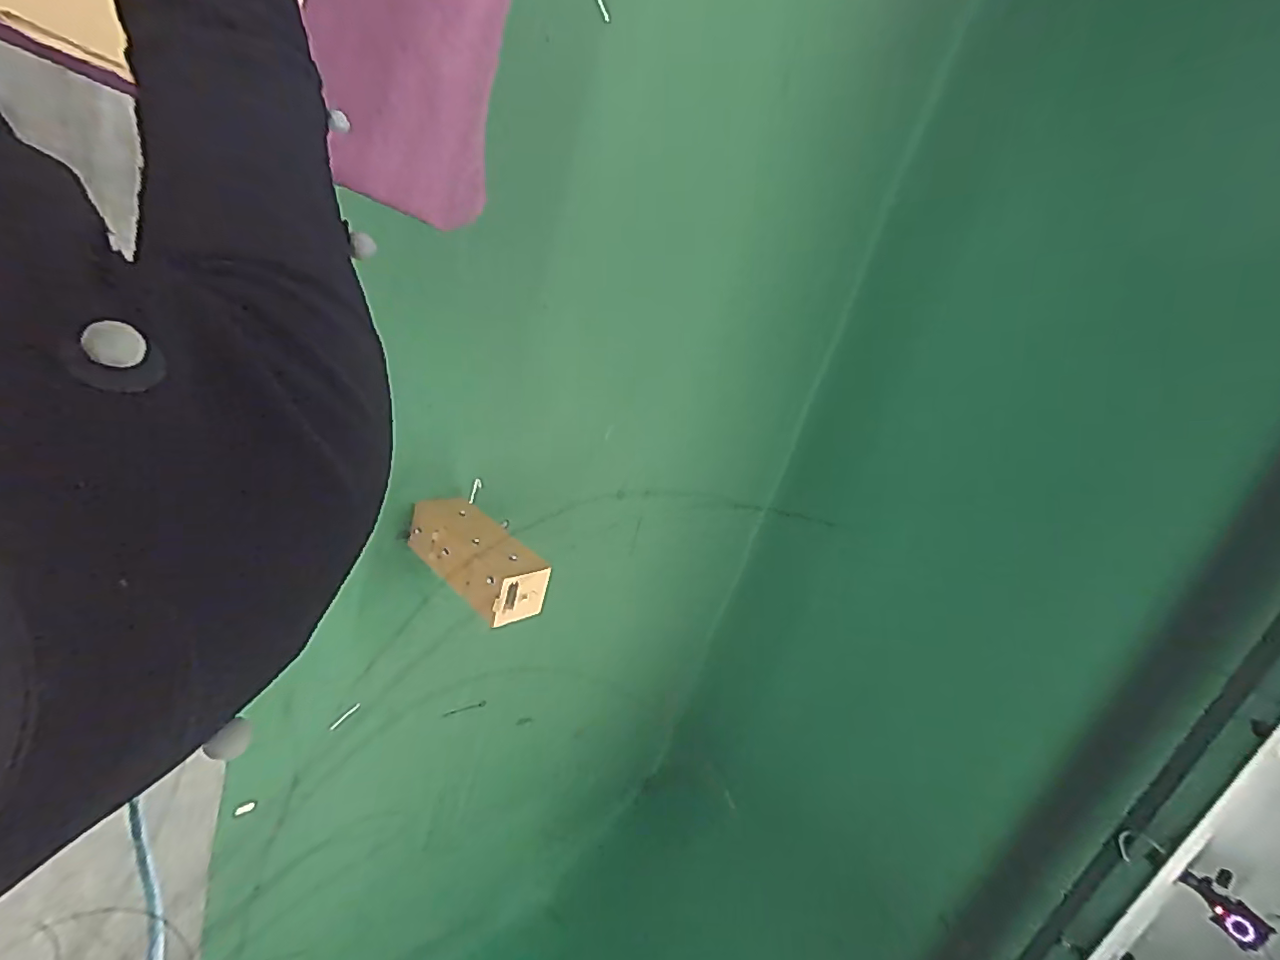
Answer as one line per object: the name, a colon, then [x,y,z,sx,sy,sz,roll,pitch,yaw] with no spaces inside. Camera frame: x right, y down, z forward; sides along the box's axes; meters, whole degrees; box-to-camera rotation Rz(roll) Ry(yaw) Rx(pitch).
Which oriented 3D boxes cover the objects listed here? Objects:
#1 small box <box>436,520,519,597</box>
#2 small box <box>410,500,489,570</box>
small box: [-0.516,0.239,1.707,0.179,0.176,0.168,-6,119,-48]
small box: [-0.633,0.176,1.799,0.179,0.176,0.168,-4,117,-50]
